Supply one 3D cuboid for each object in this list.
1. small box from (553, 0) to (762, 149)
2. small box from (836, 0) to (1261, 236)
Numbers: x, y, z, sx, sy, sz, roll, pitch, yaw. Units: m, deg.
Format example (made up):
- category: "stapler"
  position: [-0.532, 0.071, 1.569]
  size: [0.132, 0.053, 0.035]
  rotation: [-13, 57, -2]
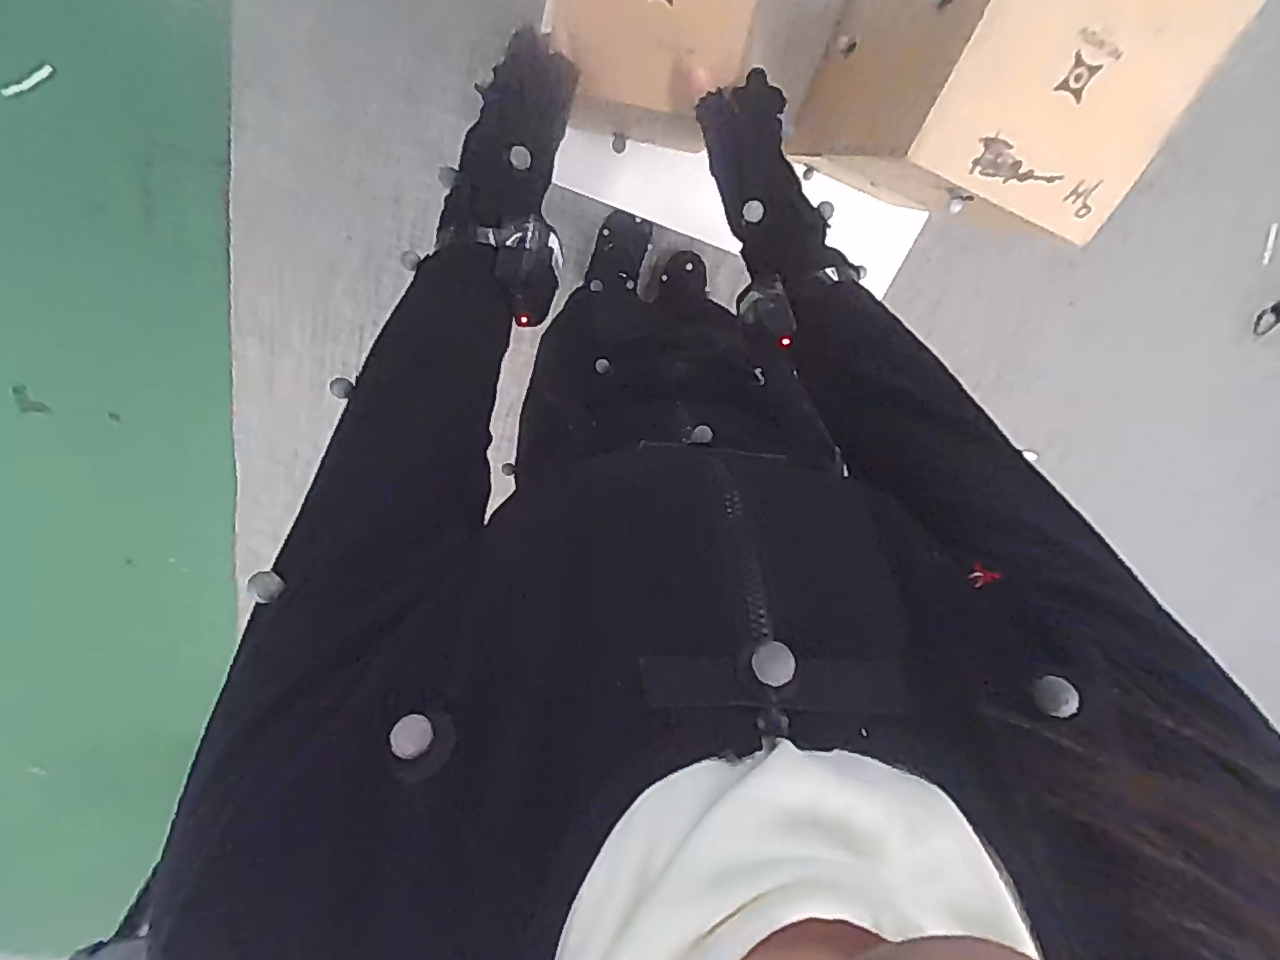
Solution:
- category: "small box"
  position: [0.011, -0.428, 0.499]
  size: [0.168, 0.176, 0.179]
  rotation: [5, 114, -7]
- category: "small box"
  position: [0.279, -0.312, 0.407]
  size: [0.168, 0.176, 0.179]
  rotation: [16, 119, -13]
